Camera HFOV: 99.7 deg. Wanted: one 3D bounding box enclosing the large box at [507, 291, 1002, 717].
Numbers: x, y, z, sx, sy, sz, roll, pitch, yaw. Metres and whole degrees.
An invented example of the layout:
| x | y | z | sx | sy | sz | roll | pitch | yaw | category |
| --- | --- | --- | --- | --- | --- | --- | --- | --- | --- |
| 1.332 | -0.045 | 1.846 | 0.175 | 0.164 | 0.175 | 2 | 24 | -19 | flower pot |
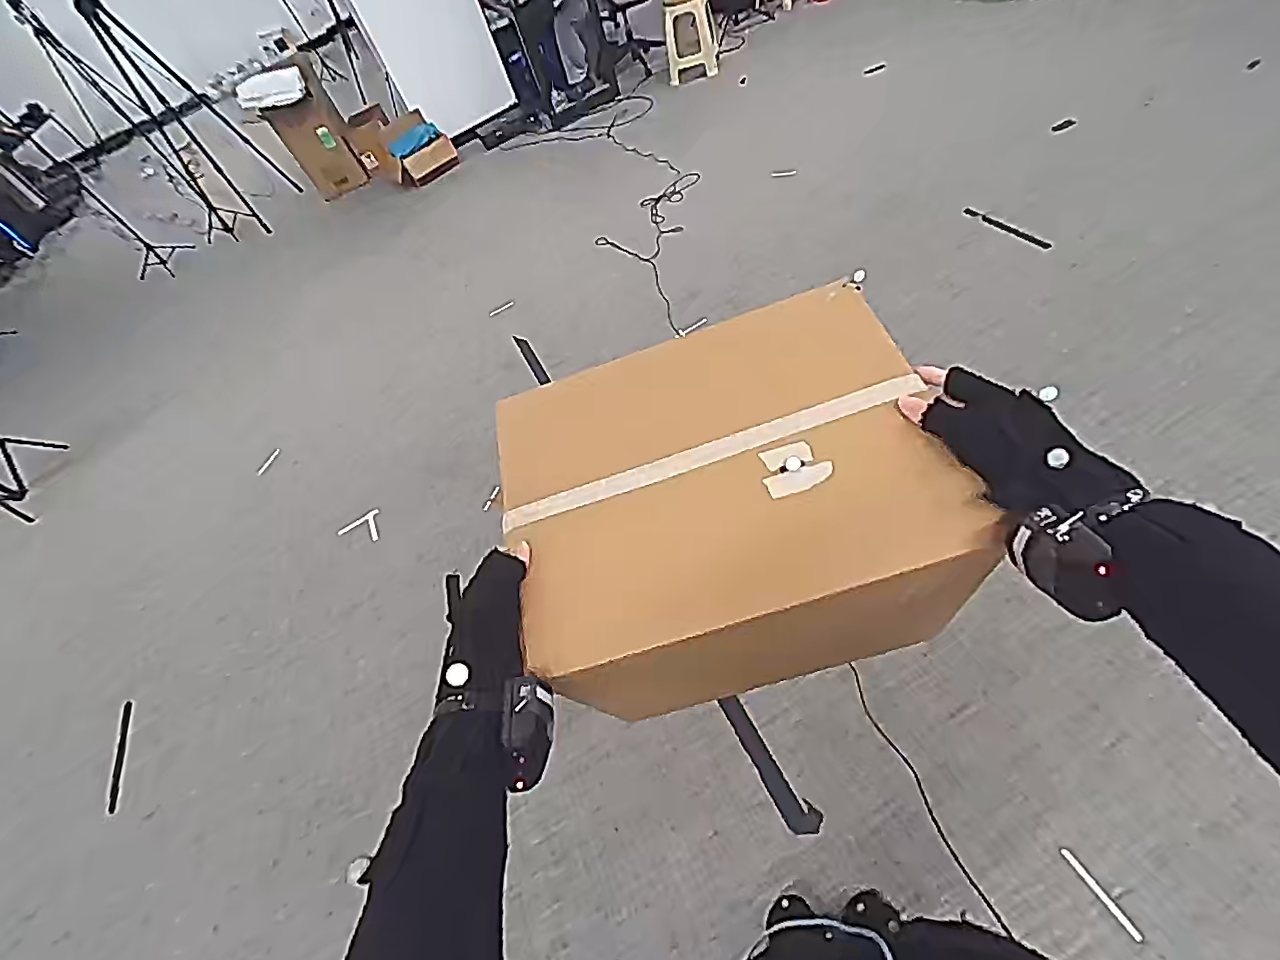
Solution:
| x | y | z | sx | sy | sz | roll | pitch | yaw | category |
| --- | --- | --- | --- | --- | --- | --- | --- | --- | --- |
| 0.102 | 0.053 | 0.645 | 0.408 | 0.320 | 0.320 | -18 | 58 | 5 | large box |
